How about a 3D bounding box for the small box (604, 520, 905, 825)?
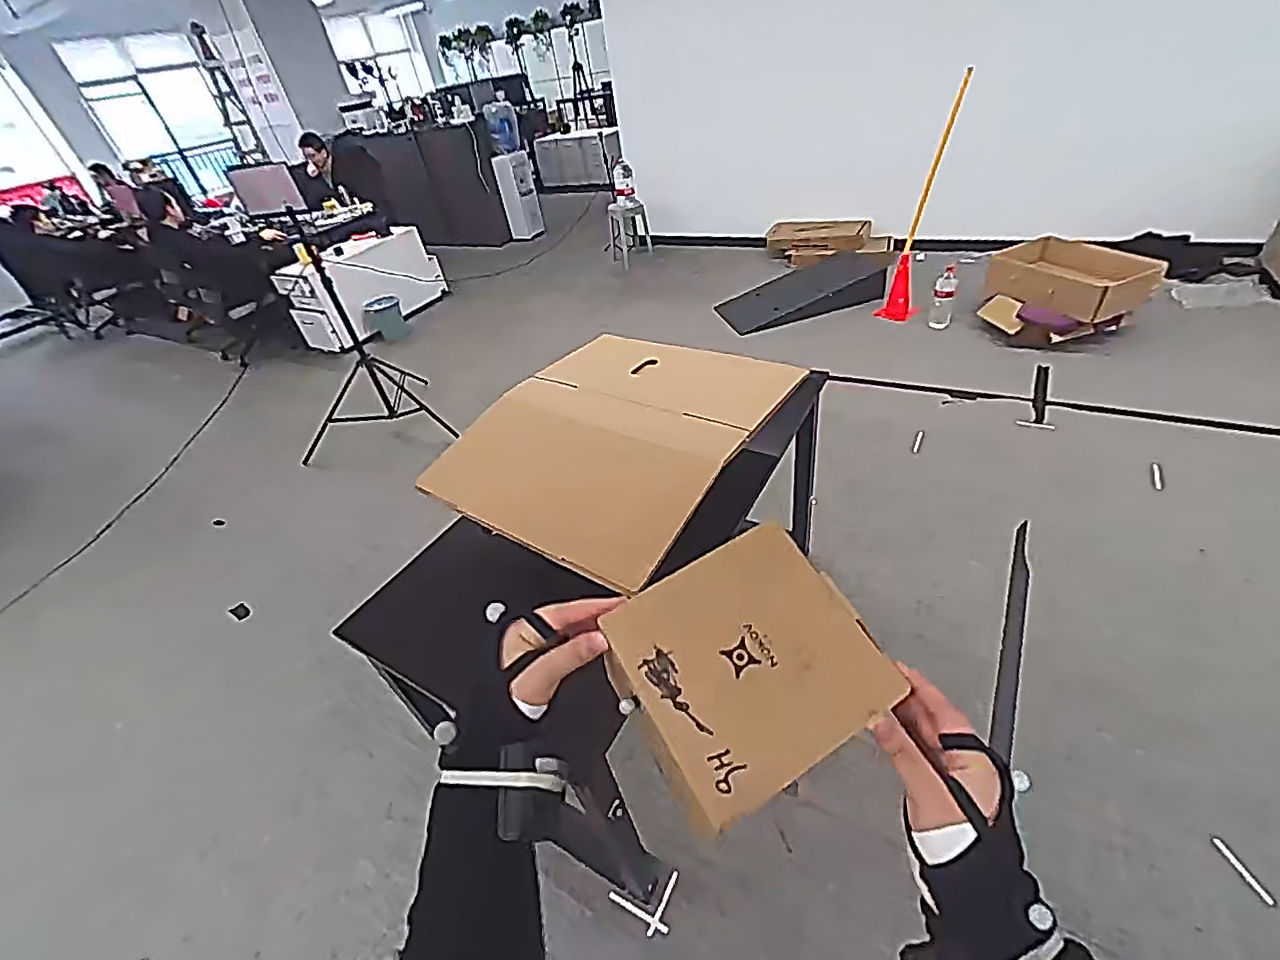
[{"bbox_3d":[0.080,0.169,0.474,0.179,0.176,0.168,-25,61,-17],"label":"small box"}]
